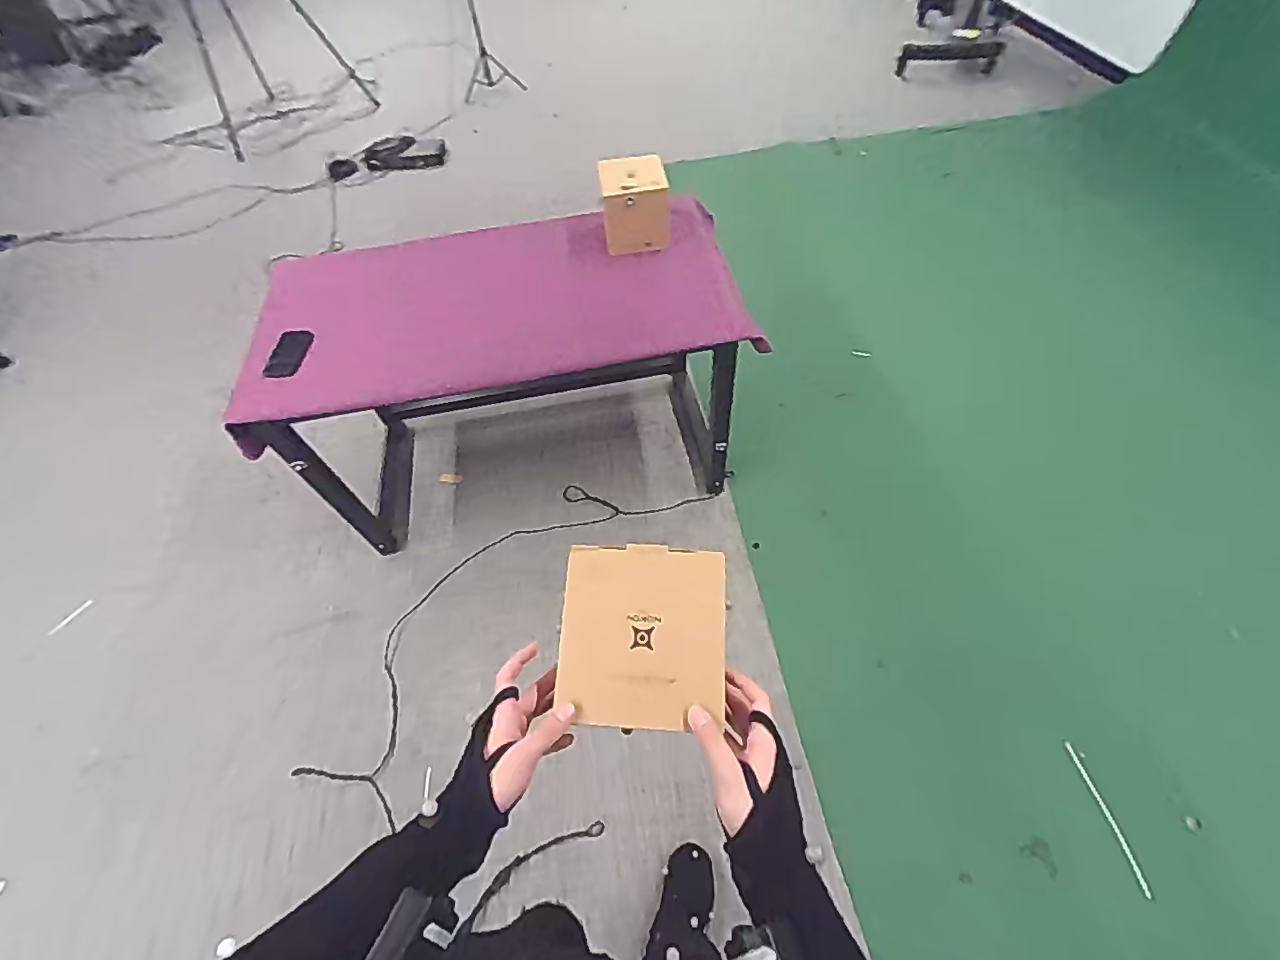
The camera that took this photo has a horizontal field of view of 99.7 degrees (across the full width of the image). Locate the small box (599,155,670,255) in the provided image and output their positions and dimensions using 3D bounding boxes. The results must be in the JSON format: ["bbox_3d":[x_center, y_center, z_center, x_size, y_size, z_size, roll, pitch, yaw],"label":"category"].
[{"bbox_3d":[-0.014,-0.731,1.442,0.168,0.176,0.179,-9,55,0],"label":"small box"}]

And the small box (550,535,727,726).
[{"bbox_3d":[0.004,0.171,0.610,0.168,0.176,0.179,3,70,4],"label":"small box"}]
